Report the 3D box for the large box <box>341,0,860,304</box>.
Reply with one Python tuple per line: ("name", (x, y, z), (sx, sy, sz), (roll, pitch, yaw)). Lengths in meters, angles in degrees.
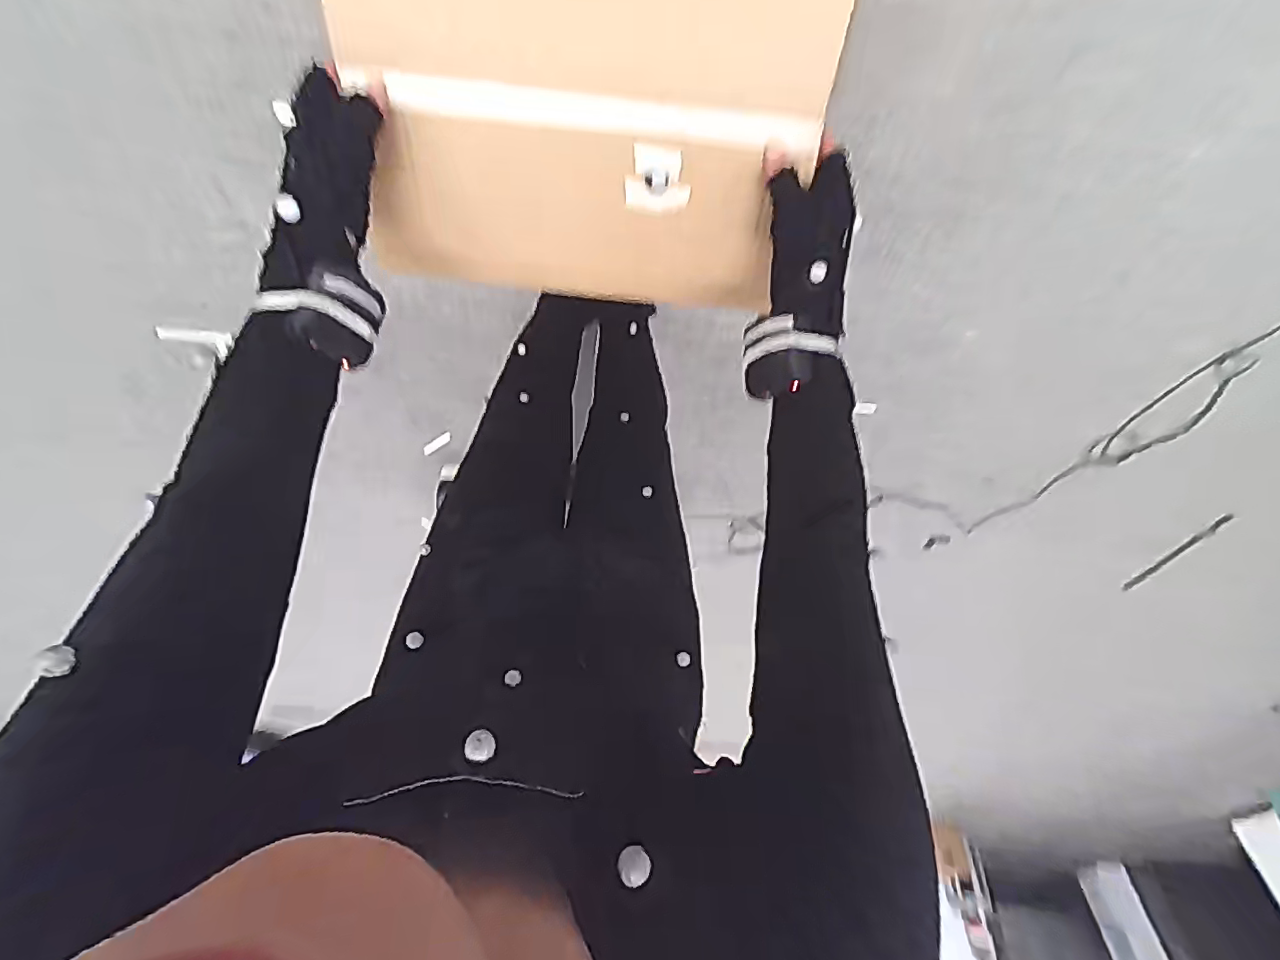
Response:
("large box", (-0.037, -0.403, 0.572), (0.408, 0.320, 0.320), (4, 129, -3))
